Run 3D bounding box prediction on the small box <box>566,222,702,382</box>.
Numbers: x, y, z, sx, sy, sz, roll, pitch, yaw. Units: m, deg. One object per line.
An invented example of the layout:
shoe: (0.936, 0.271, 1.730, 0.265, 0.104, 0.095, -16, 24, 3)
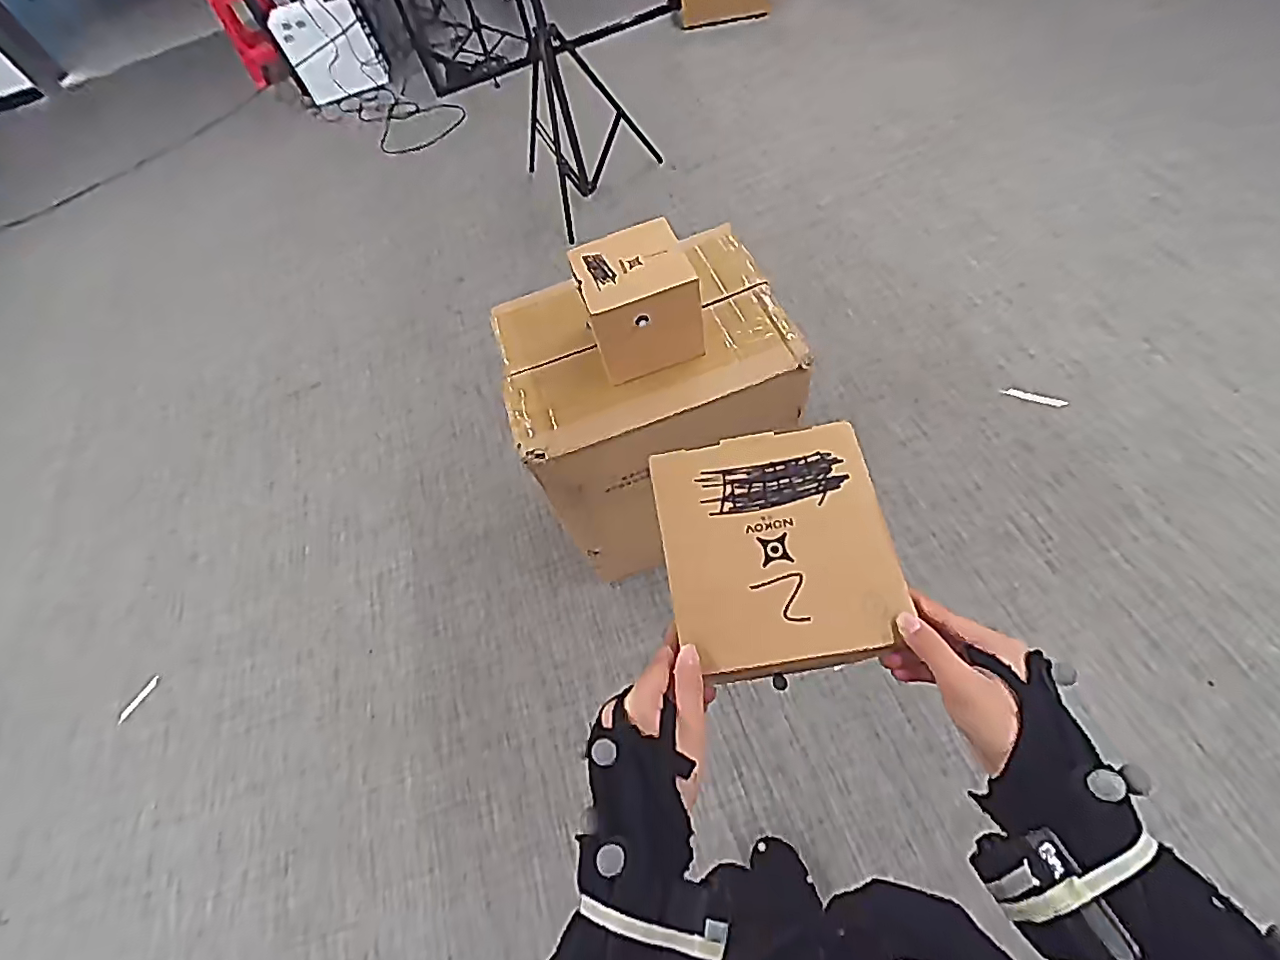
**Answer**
small box: (-0.005, -0.294, 0.918, 0.179, 0.176, 0.168, -20, 59, -1)
